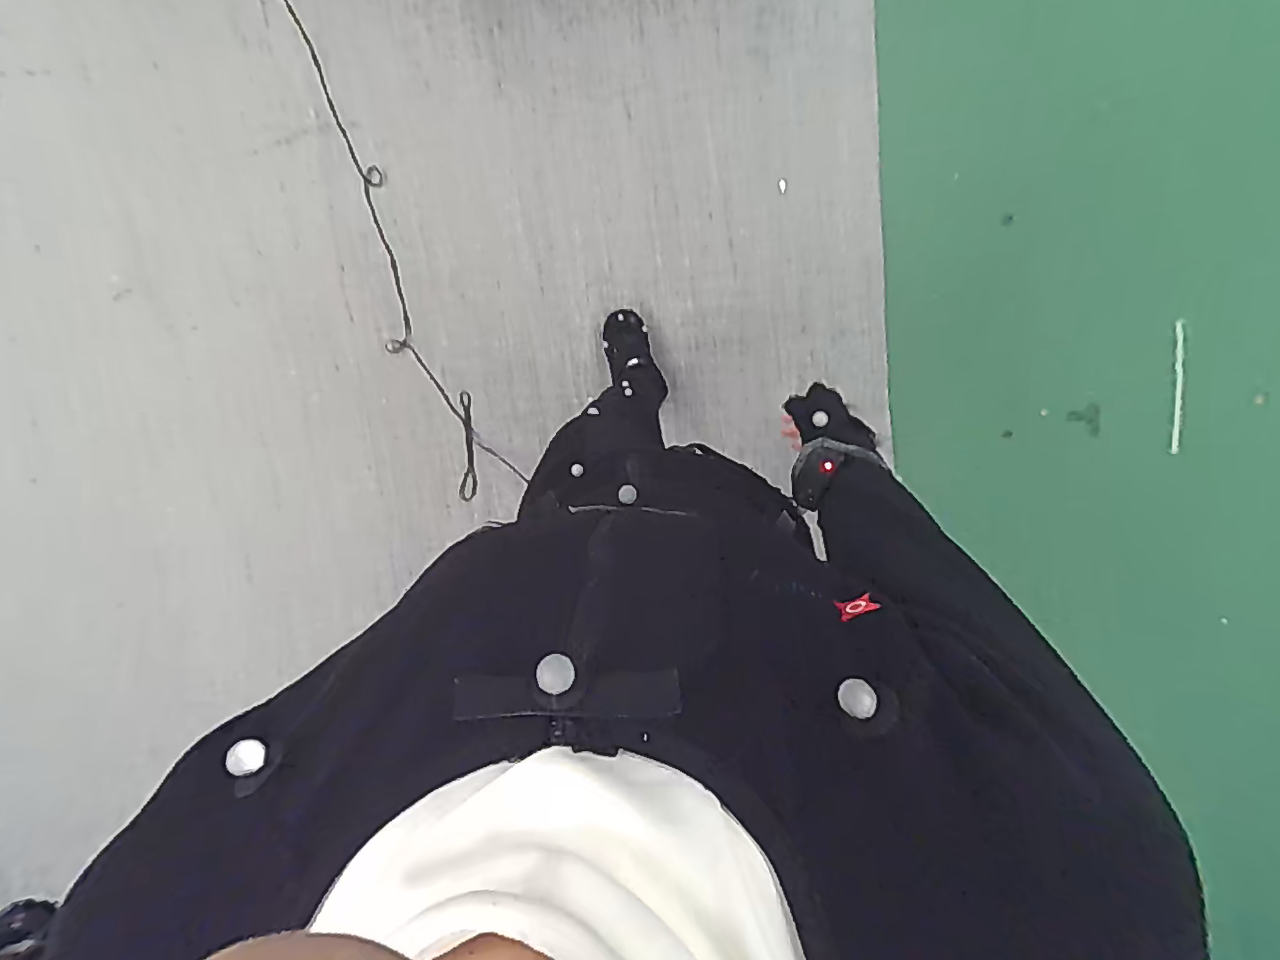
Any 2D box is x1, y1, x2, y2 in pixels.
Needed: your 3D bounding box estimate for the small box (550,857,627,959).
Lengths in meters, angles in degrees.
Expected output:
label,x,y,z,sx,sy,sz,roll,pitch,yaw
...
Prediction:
label,x,y,z,sx,sy,sz,roll,pitch,yaw
small box,-0.138,1.192,1.508,0.179,0.176,0.168,-6,97,5
